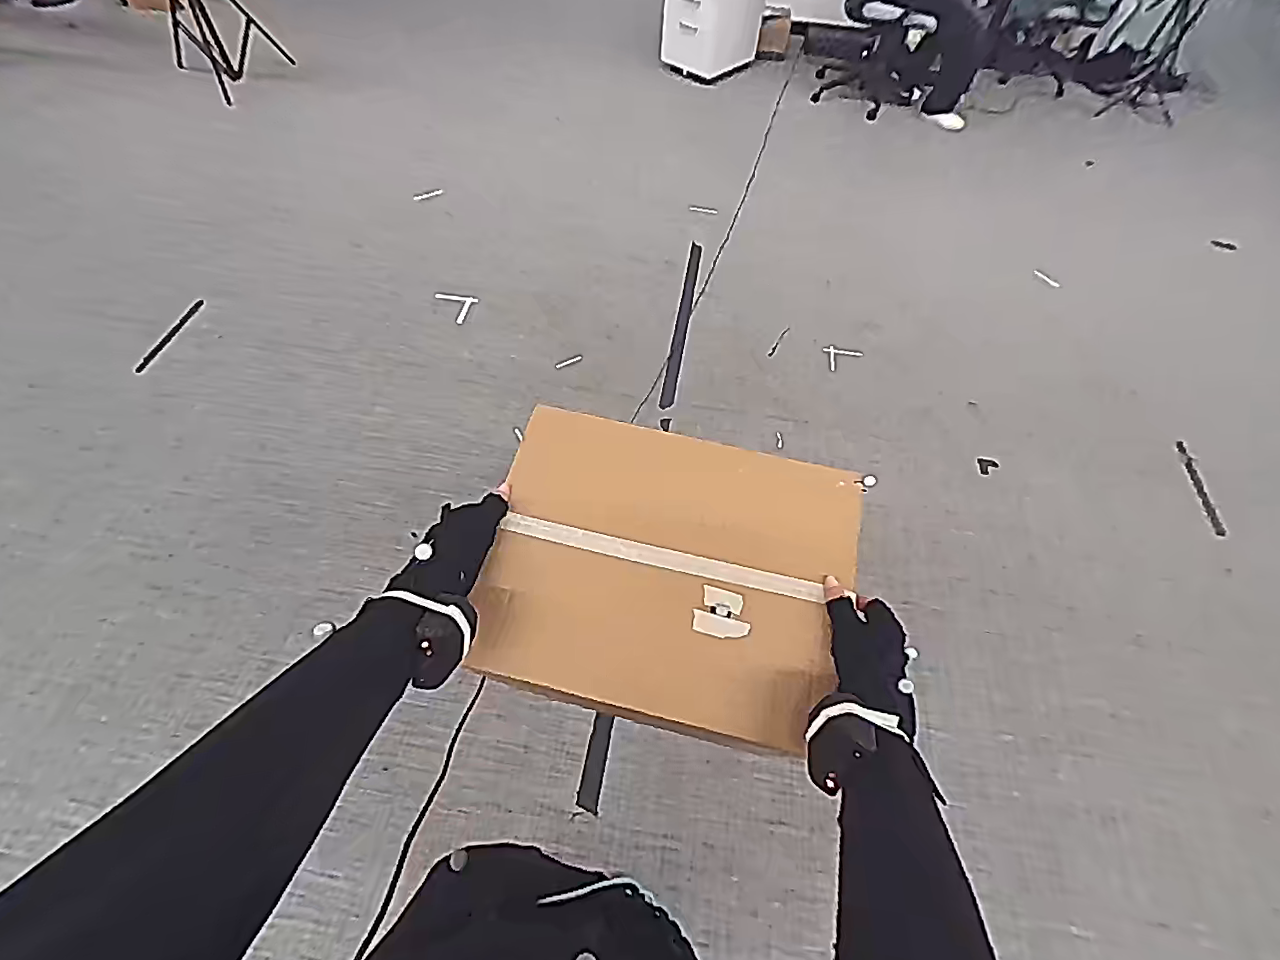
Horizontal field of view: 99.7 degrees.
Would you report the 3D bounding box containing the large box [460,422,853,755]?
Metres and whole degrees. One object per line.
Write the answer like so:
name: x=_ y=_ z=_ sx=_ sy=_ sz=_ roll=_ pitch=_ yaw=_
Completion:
large box: x=0.029 y=0.163 z=0.746 sx=0.408 sy=0.320 sz=0.320 roll=13 pitch=66 yaw=4
